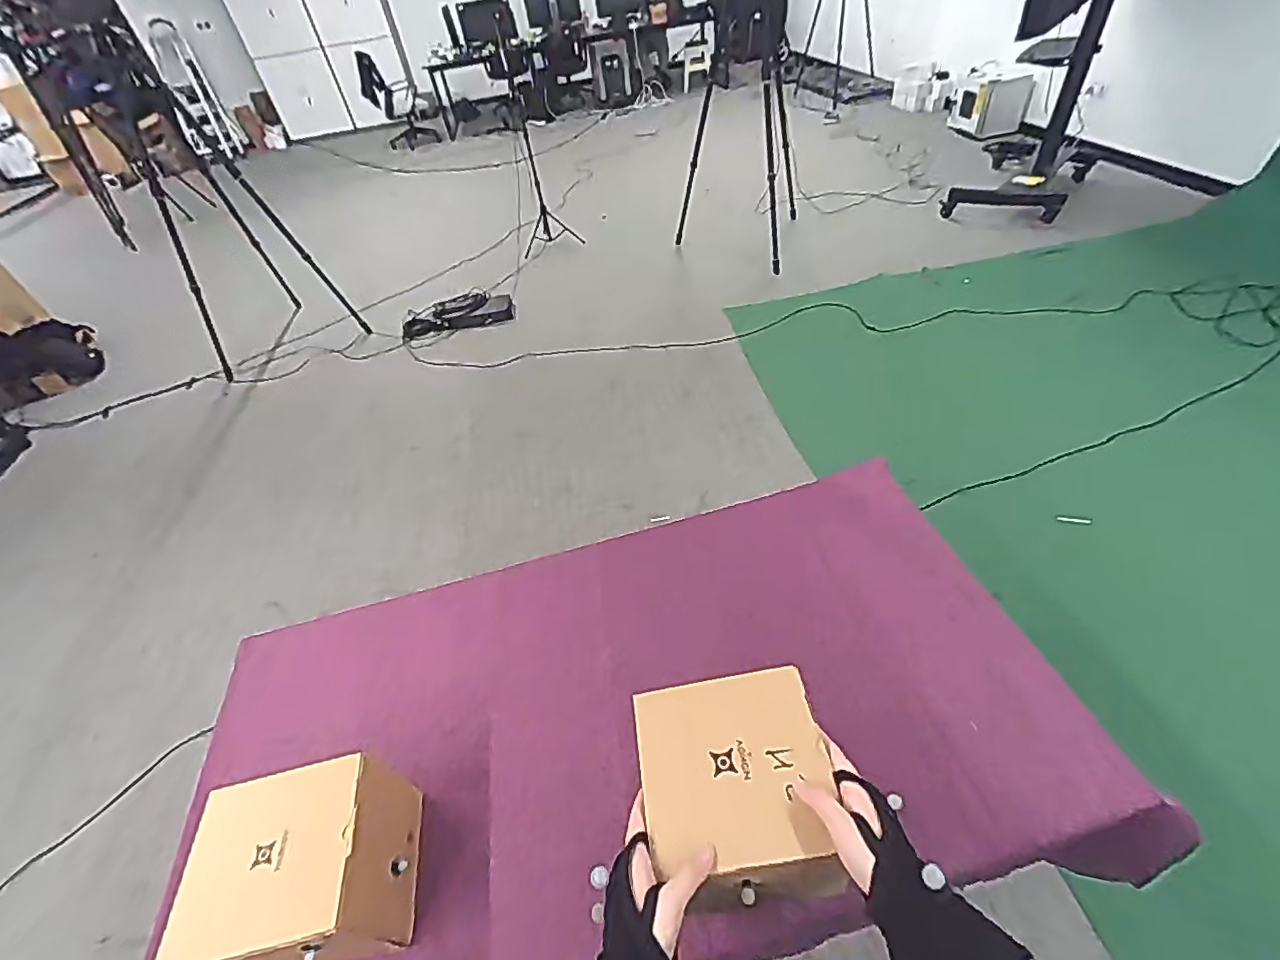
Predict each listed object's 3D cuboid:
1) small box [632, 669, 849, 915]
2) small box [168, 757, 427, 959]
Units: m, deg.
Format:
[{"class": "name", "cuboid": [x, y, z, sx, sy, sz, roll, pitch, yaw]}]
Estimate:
[{"class": "small box", "cuboid": [0.097, 0.324, 0.559, 0.179, 0.176, 0.168, -11, 42, 3]}, {"class": "small box", "cuboid": [-0.372, 0.455, 0.627, 0.179, 0.176, 0.168, -14, 44, -3]}]
